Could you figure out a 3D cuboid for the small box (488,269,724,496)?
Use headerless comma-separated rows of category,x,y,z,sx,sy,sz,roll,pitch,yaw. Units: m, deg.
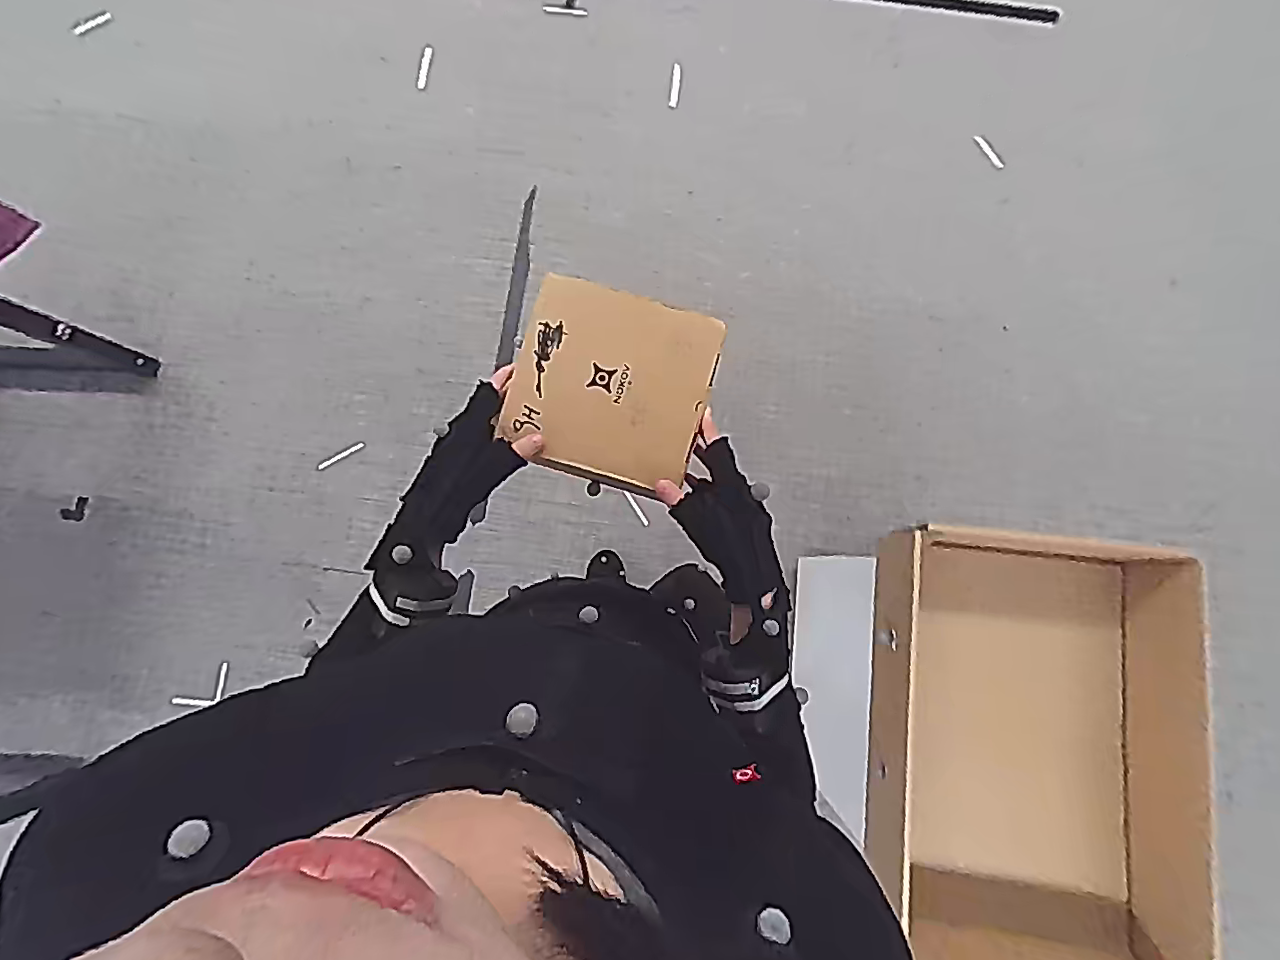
small box,-0.029,-0.083,0.558,0.179,0.176,0.168,16,84,1
